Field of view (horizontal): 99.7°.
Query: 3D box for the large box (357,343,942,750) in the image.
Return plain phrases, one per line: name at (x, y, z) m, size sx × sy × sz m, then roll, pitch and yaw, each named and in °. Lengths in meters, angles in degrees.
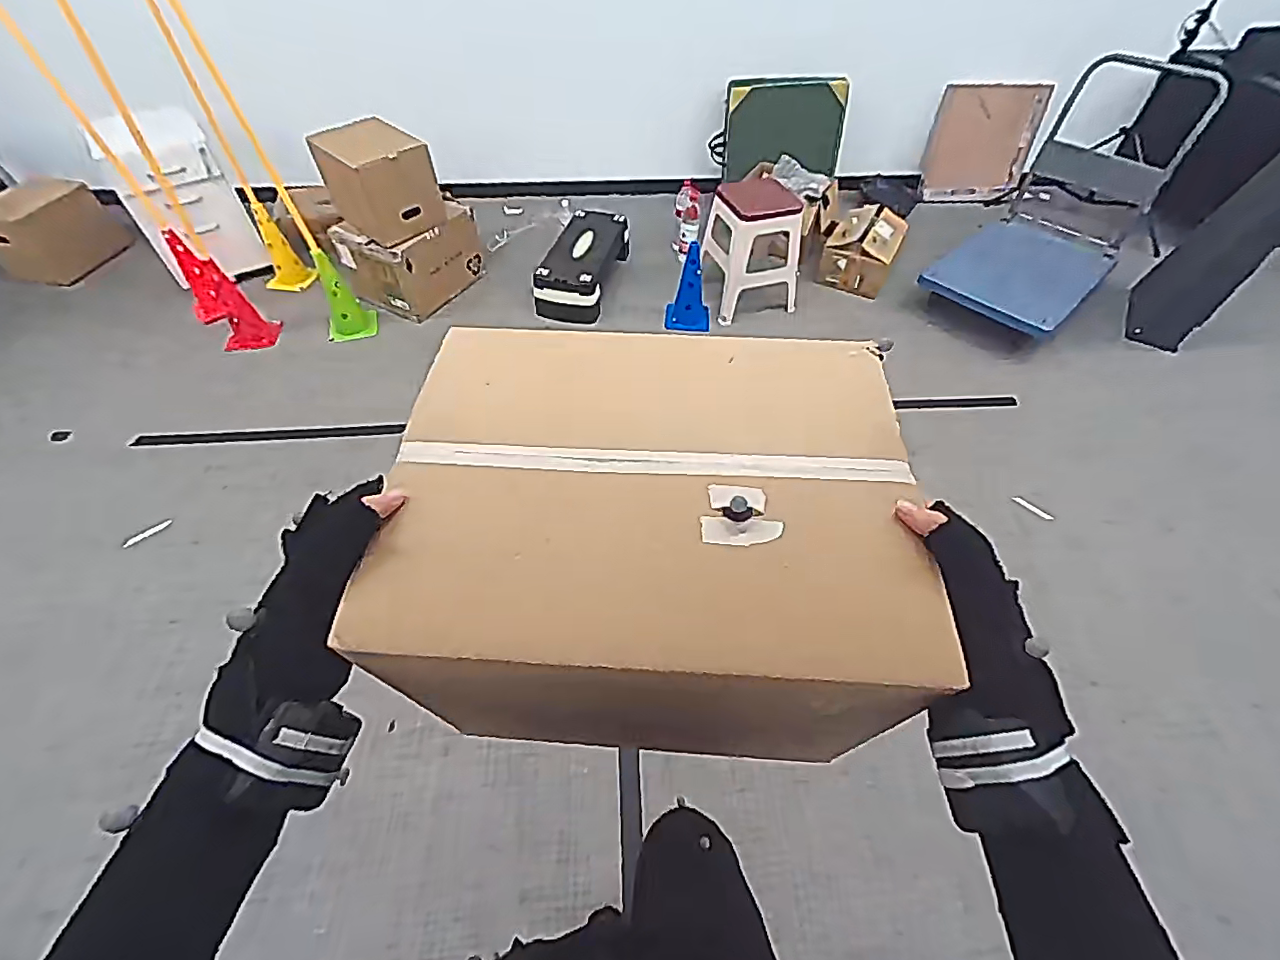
large box at (0.010, 0.079, 0.567) m, size 0.408 × 0.320 × 0.320 m, roll 3°, pitch 55°, yaw 3°
